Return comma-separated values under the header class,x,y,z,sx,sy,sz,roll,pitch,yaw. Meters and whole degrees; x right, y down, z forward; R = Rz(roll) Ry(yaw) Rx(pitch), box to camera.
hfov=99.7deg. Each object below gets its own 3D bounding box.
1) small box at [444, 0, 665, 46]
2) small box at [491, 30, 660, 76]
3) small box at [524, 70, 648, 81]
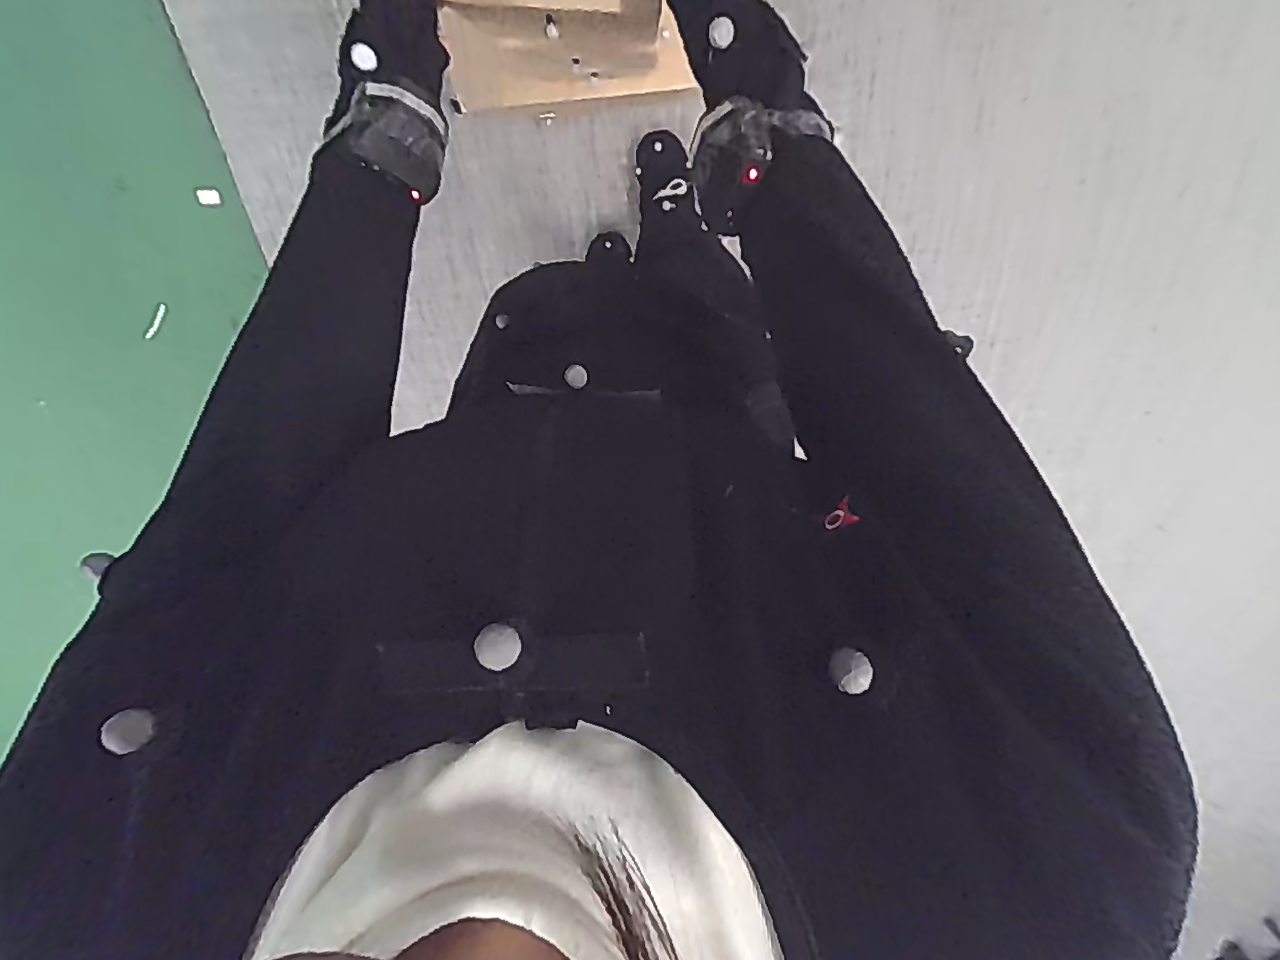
class,x,y,z,sx,sy,sz,roll,pitch,yaw
small box,-0.064,-0.477,0.449,0.179,0.176,0.168,1,123,-1
small box,-0.065,-0.553,0.590,0.179,0.176,0.168,2,122,1
small box,-0.071,-0.648,0.726,0.168,0.176,0.179,-1,123,2
